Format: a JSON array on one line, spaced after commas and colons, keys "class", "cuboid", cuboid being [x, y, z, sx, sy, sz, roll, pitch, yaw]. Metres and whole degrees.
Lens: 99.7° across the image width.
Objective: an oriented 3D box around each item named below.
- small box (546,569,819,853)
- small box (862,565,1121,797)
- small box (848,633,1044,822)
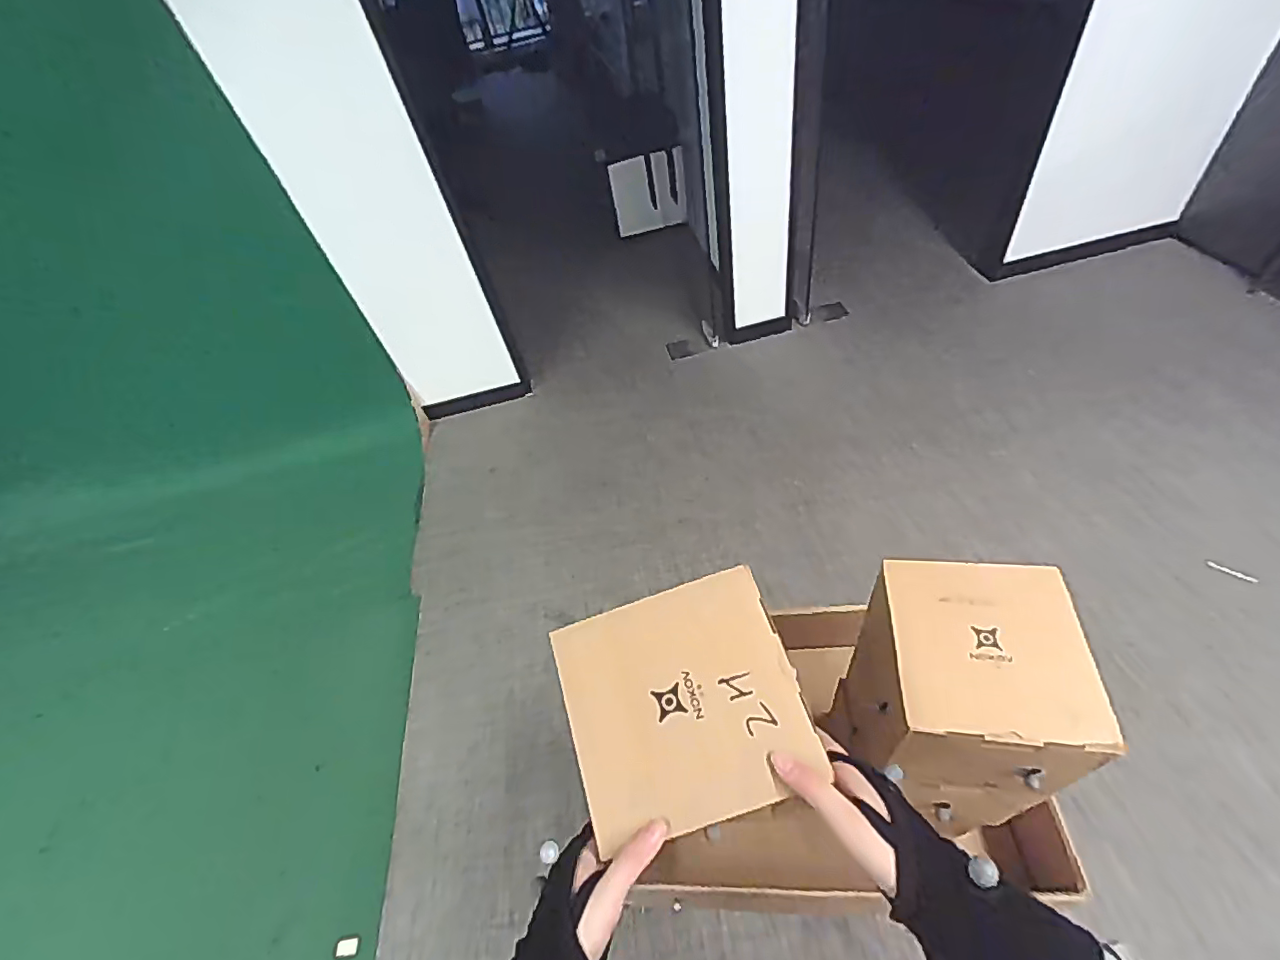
[{"class": "small box", "cuboid": [0.038, 0.202, 0.485, 0.179, 0.176, 0.168, -19, 64, 1]}, {"class": "small box", "cuboid": [0.332, 0.208, 0.559, 0.168, 0.176, 0.179, 0, 49, 13]}, {"class": "small box", "cuboid": [0.362, 0.312, 0.681, 0.168, 0.176, 0.179, 0, 51, 13]}]
